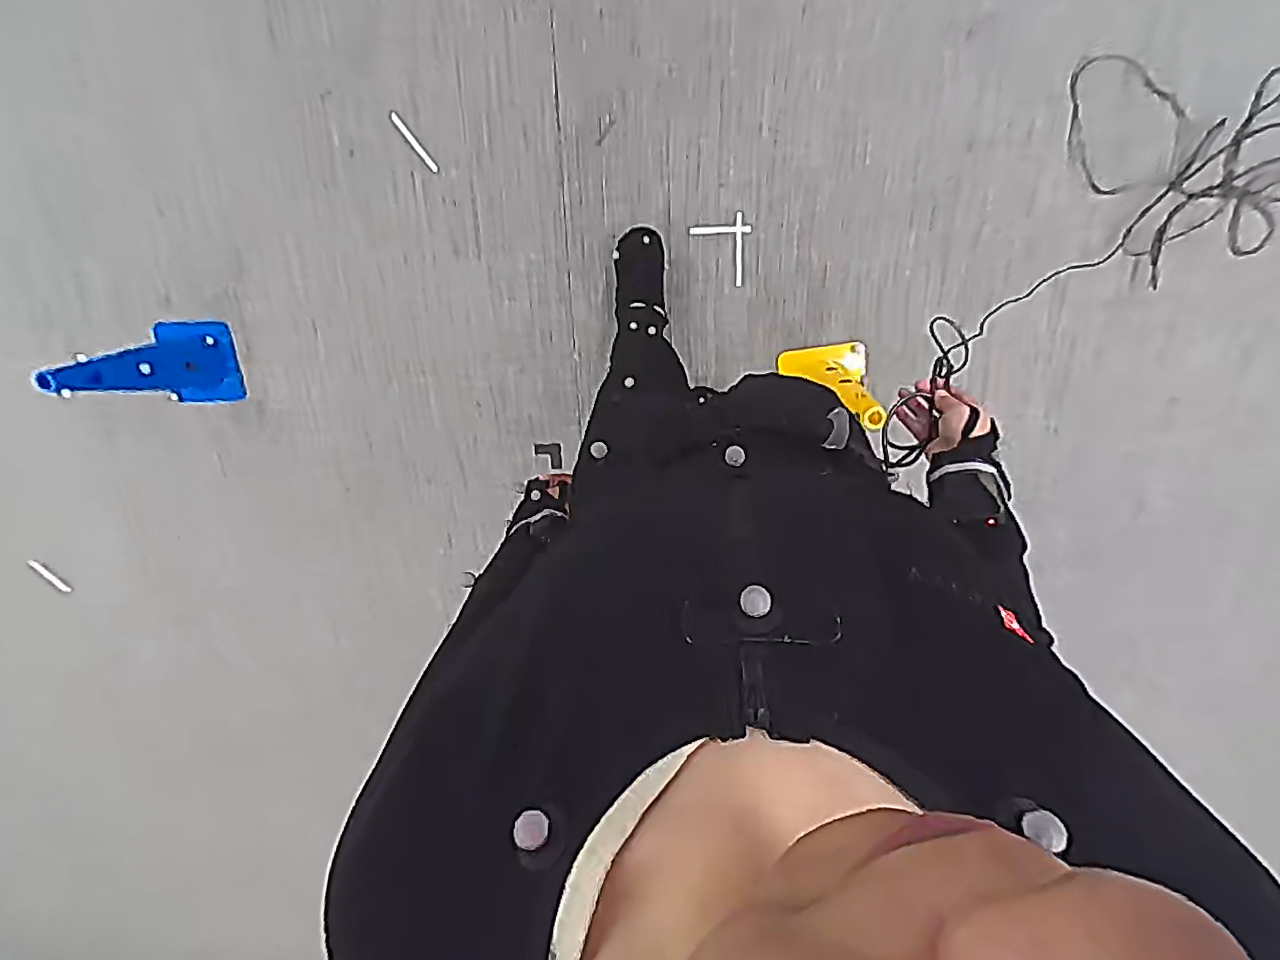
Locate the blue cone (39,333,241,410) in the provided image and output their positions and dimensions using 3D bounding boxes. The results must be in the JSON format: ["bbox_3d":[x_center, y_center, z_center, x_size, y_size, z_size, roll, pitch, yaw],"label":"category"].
[{"bbox_3d":[-1.119,-0.219,1.202,0.193,0.380,0.192,0,108,4],"label":"blue cone"}]
